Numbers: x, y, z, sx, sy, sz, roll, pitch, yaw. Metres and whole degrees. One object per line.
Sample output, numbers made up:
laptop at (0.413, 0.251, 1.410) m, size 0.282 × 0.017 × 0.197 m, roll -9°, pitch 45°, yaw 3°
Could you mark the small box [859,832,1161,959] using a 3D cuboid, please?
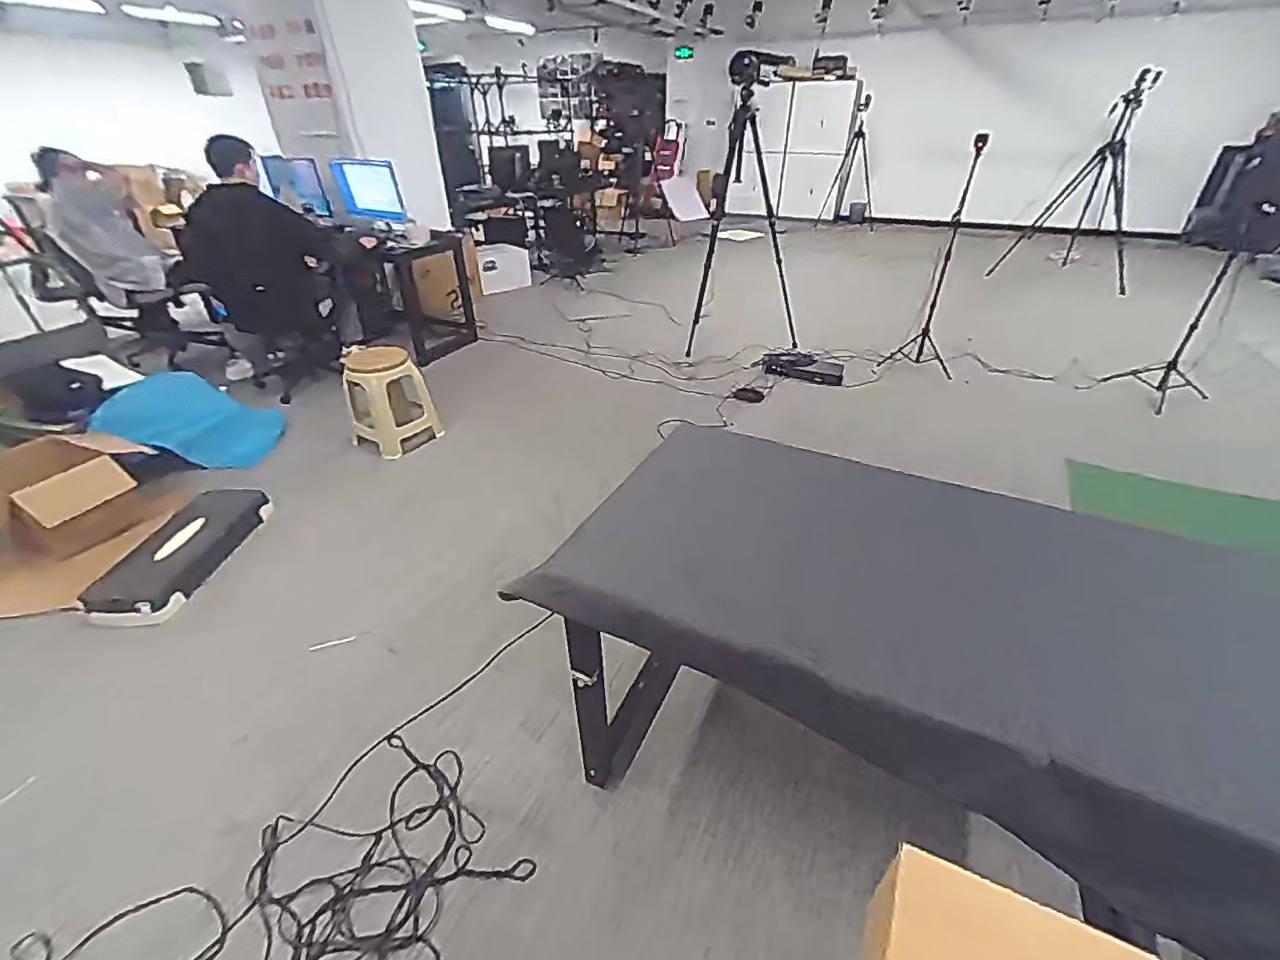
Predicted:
small box at (0.256, 0.415, 0.402) m, size 0.168 × 0.176 × 0.179 m, roll 14°, pitch 45°, yaw 24°
